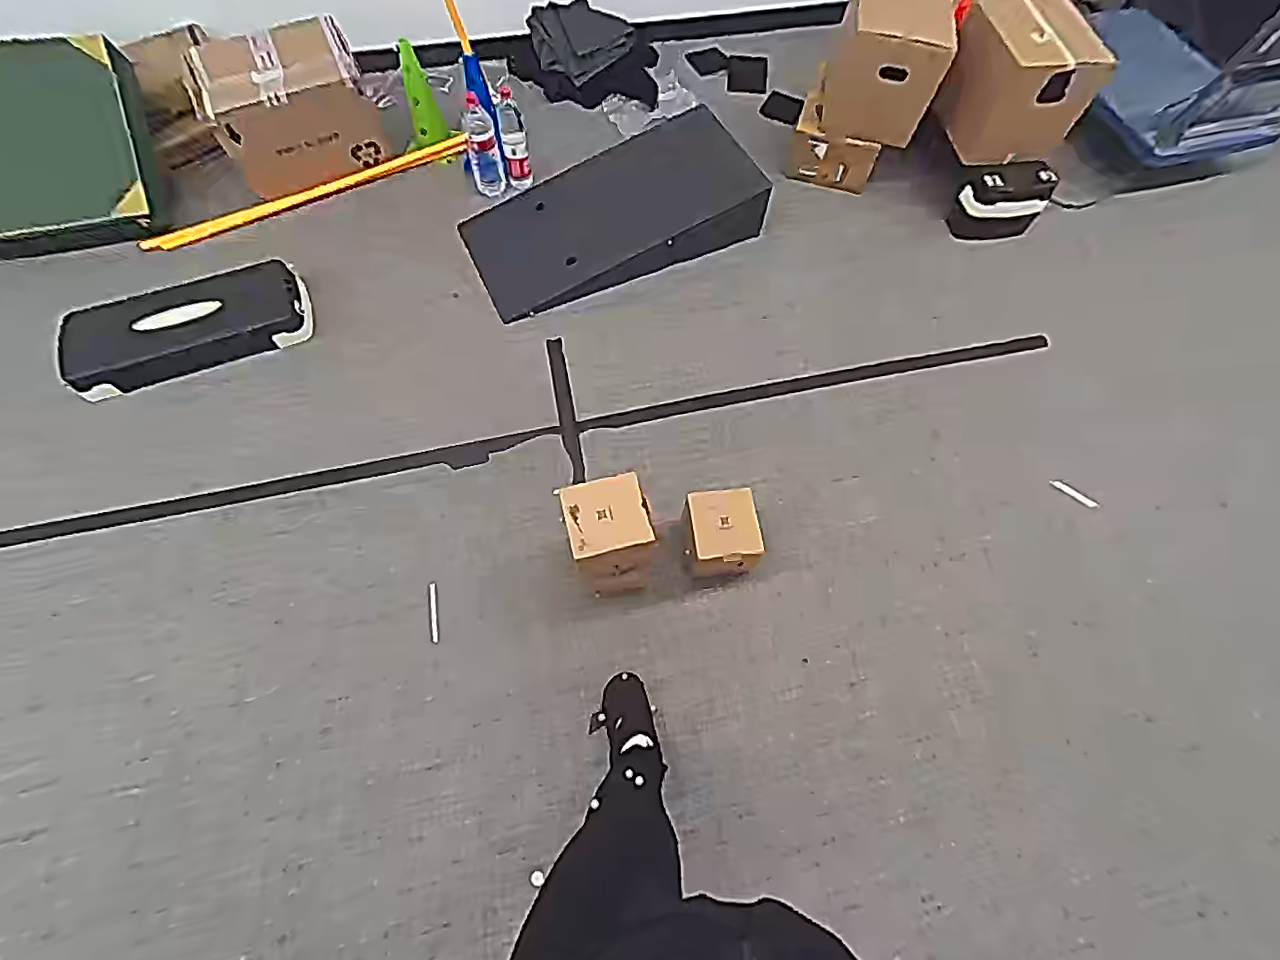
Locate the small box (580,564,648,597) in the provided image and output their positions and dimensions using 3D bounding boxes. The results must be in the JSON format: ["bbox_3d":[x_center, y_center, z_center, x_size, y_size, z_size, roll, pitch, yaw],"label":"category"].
[{"bbox_3d":[-0.073,0.187,1.360,0.168,0.176,0.179,-8,65,-6],"label":"small box"}]

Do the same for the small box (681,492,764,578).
[{"bbox_3d":[0.205,0.147,1.390,0.168,0.176,0.179,-5,65,-5],"label":"small box"}]

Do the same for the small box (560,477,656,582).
[{"bbox_3d":[-0.074,0.115,1.211,0.179,0.176,0.168,-12,65,-9],"label":"small box"}]
